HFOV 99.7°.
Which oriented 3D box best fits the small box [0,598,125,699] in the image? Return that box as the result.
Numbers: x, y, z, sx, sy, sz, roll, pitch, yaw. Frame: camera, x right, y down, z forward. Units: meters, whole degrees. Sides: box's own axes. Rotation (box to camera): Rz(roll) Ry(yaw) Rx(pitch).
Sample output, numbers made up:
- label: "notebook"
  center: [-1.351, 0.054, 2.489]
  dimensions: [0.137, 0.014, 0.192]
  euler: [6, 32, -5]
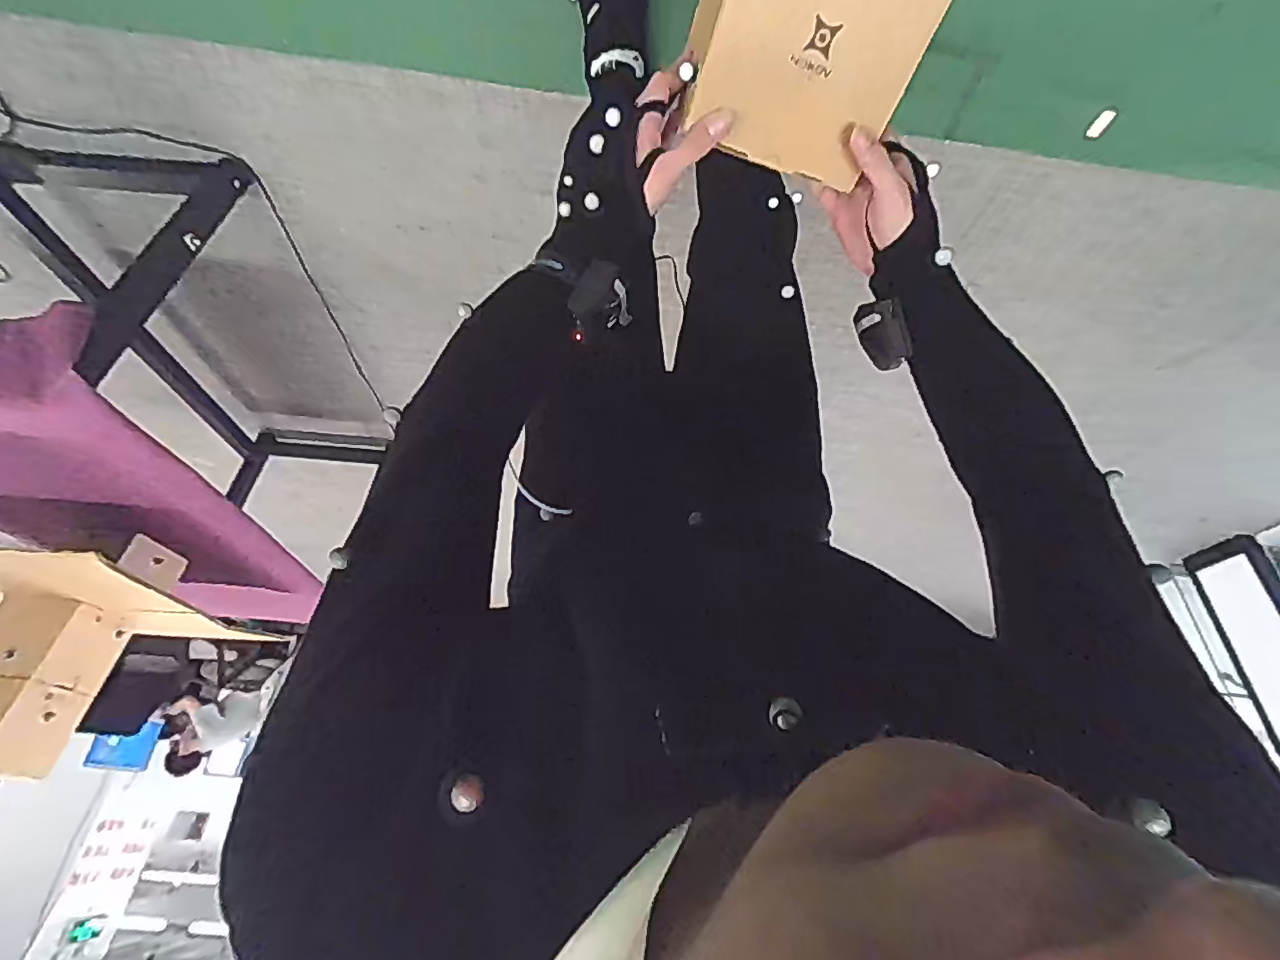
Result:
- label: "small box"
  center: [-1.297, 0.369, 1.185]
  dimensions: [0.179, 0.176, 0.168]
  euler: [5, 145, 1]

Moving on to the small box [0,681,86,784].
- label: "small box"
  center: [-1.311, 0.505, 1.093]
  dimensions: [0.179, 0.176, 0.168]
  euler: [4, 146, 0]

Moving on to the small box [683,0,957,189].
- label: "small box"
  center: [0.142, -0.395, 0.475]
  dimensions: [0.168, 0.176, 0.179]
  euler: [11, 133, -12]
